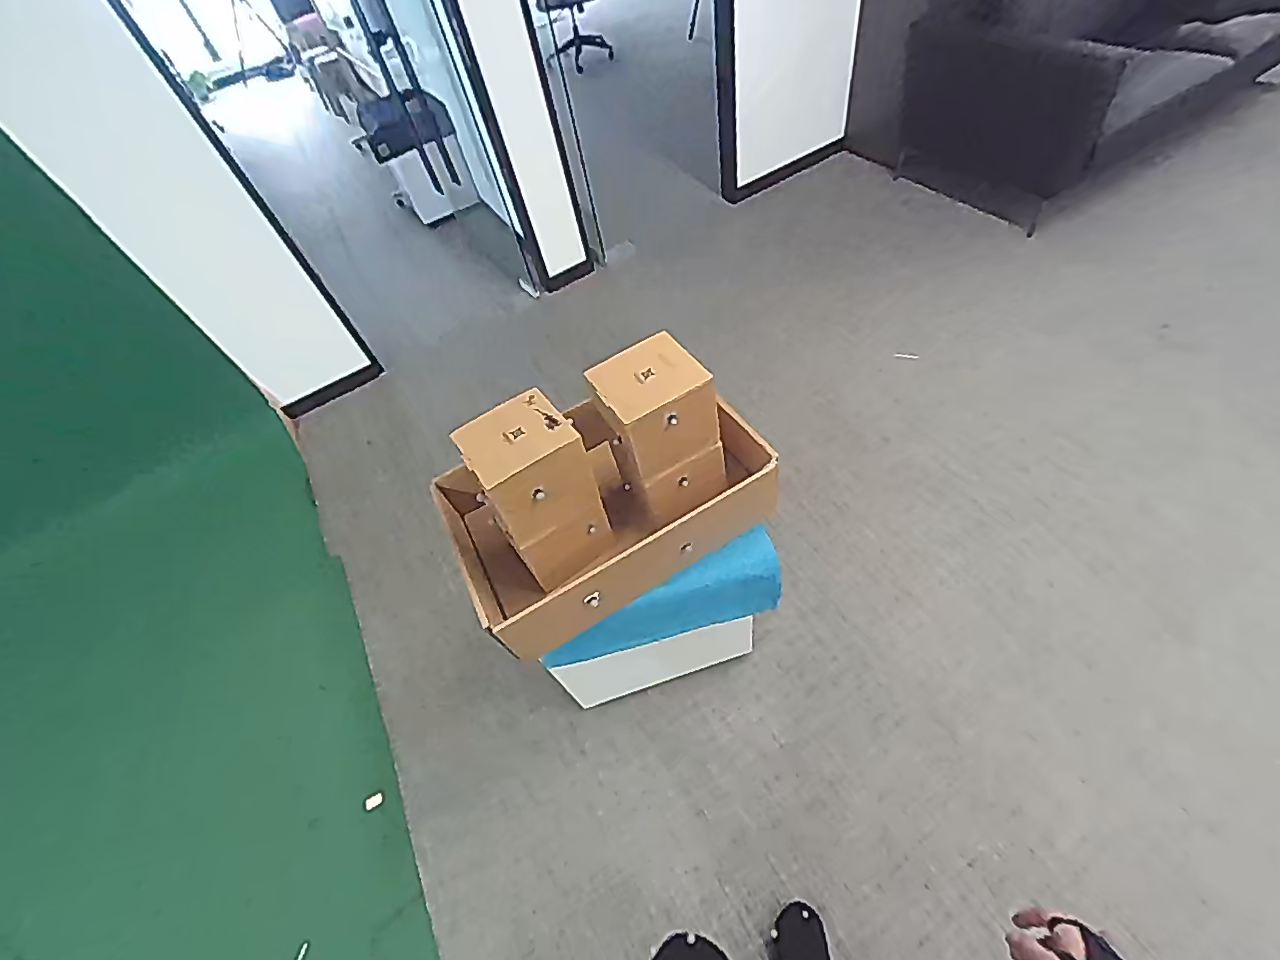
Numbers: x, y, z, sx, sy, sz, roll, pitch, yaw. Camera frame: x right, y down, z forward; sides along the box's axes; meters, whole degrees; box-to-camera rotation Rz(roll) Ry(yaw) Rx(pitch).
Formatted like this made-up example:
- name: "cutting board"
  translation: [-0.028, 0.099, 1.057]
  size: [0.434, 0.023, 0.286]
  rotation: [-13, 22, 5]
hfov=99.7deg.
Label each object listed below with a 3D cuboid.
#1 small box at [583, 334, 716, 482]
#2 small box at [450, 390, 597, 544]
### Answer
- name: "small box"
  translation: [0.024, -0.127, 0.992]
  size: [0.179, 0.176, 0.168]
  rotation: [-29, 52, -9]
- name: "small box"
  translation: [-0.199, -0.019, 0.958]
  size: [0.179, 0.176, 0.168]
  rotation: [-33, 53, -14]
